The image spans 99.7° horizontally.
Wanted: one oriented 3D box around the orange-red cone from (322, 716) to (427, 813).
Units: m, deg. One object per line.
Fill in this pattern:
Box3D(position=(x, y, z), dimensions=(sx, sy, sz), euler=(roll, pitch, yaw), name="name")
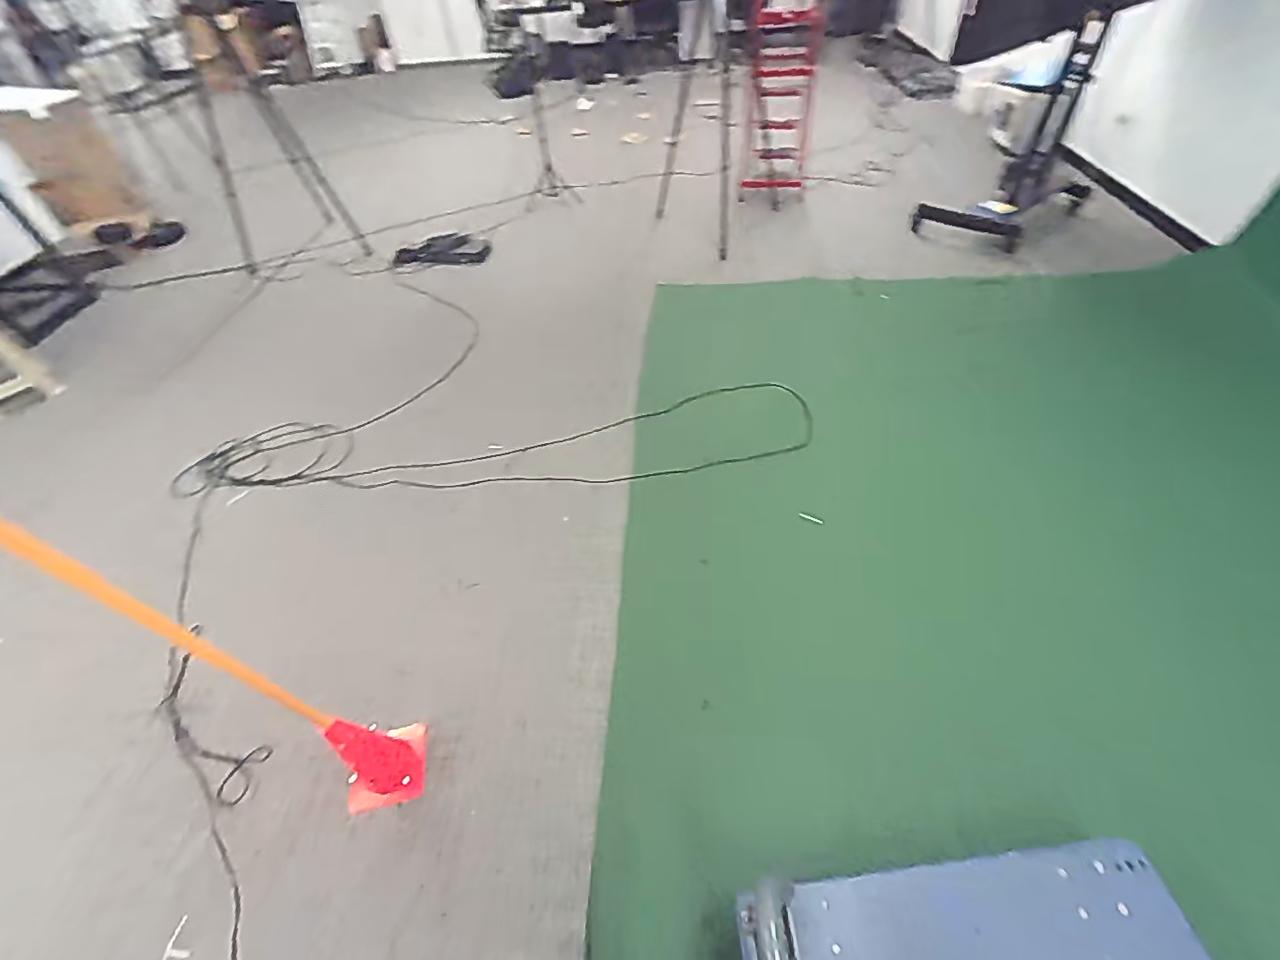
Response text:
Box3D(position=(-0.710, 0.685, 1.380), dimensions=(0.198, 0.360, 0.199), euler=(-10, 46, -5), name="orange-red cone")
